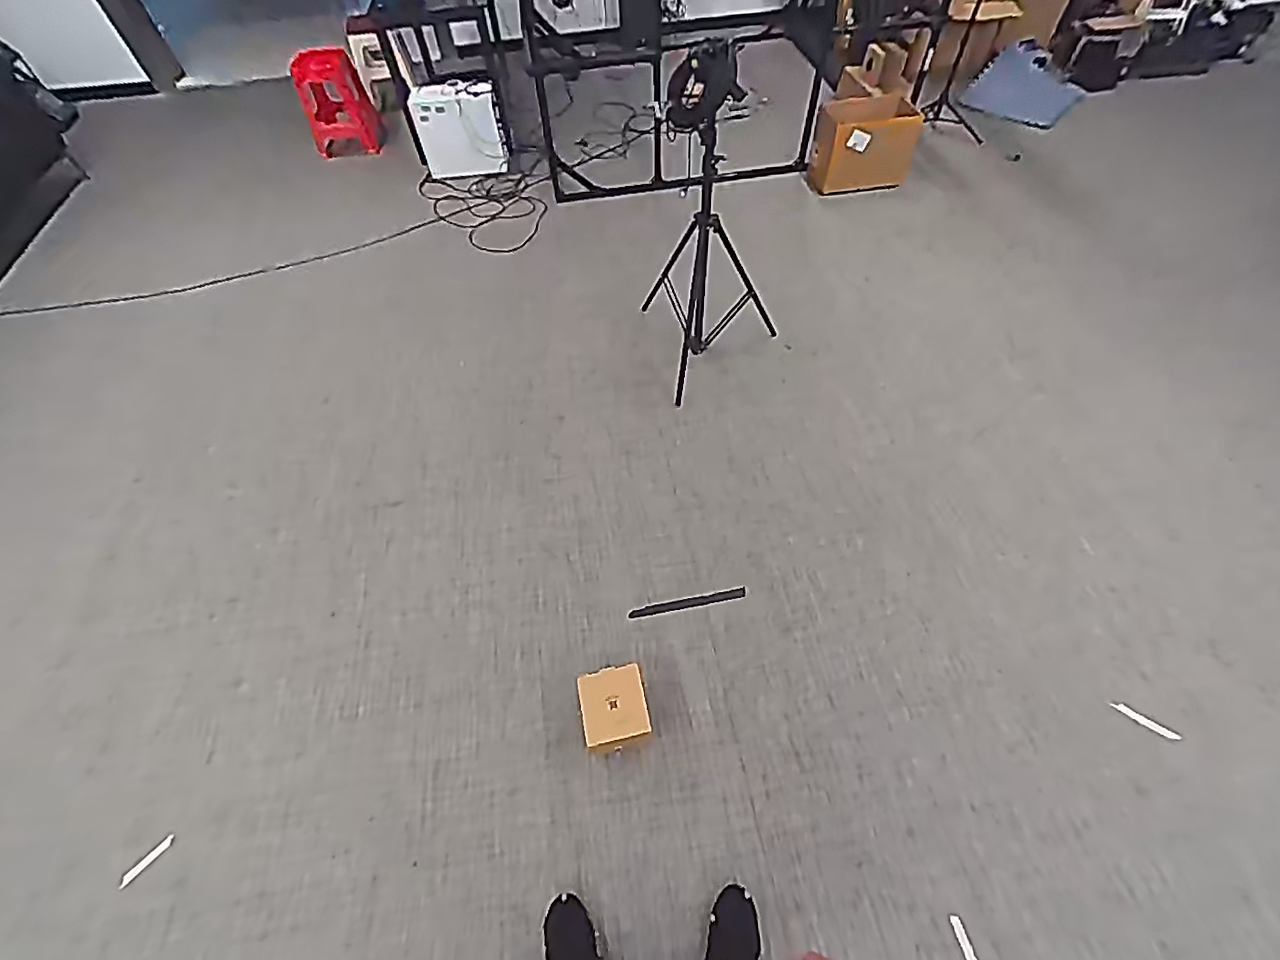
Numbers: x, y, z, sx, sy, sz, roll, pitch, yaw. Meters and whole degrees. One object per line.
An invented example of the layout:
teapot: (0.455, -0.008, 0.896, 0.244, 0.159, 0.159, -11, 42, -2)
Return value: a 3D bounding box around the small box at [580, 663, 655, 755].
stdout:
small box: (-0.059, 0.610, 1.436, 0.168, 0.176, 0.179, -12, 56, -4)
